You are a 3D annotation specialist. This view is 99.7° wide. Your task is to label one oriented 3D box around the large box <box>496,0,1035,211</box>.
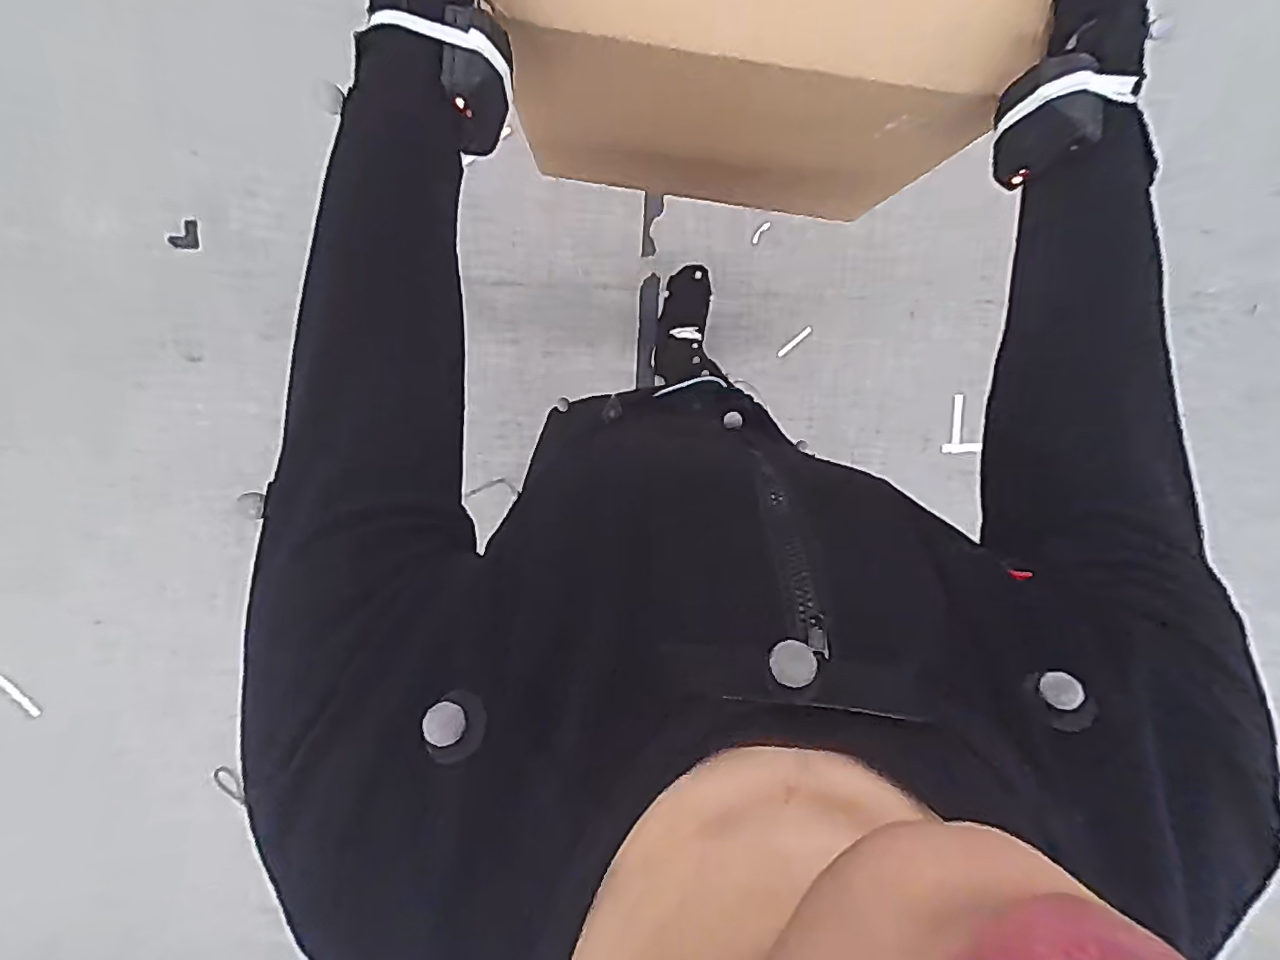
[{"bbox_3d":[0.098,-0.487,0.520,0.408,0.320,0.320,6,102,-4],"label":"large box"}]
